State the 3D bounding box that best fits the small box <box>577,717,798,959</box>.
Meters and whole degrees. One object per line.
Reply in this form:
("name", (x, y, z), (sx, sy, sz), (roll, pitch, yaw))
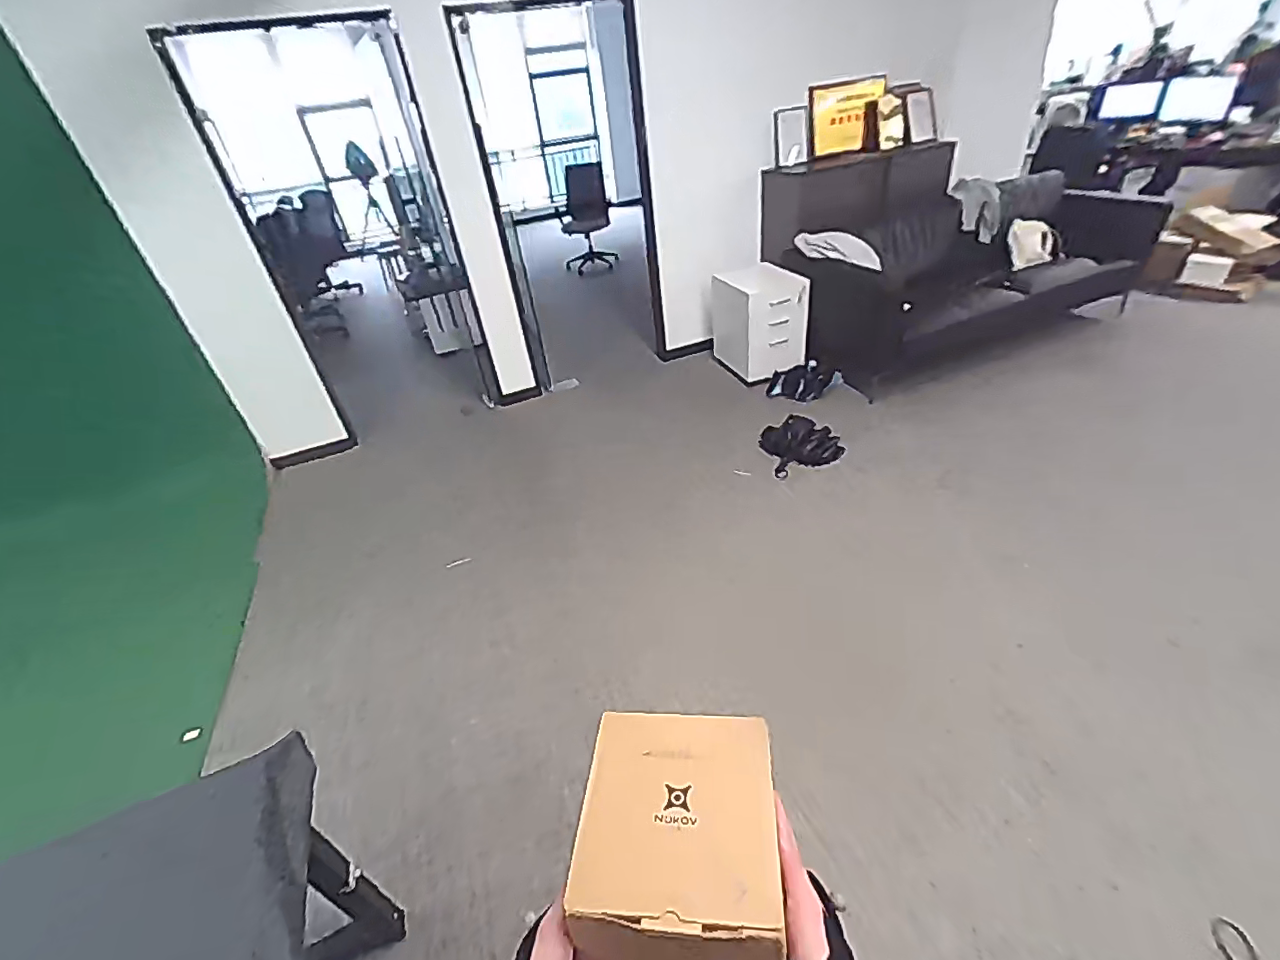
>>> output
("small box", (0.051, 0.350, 0.498), (0.168, 0.176, 0.179), (-1, 28, 9))
